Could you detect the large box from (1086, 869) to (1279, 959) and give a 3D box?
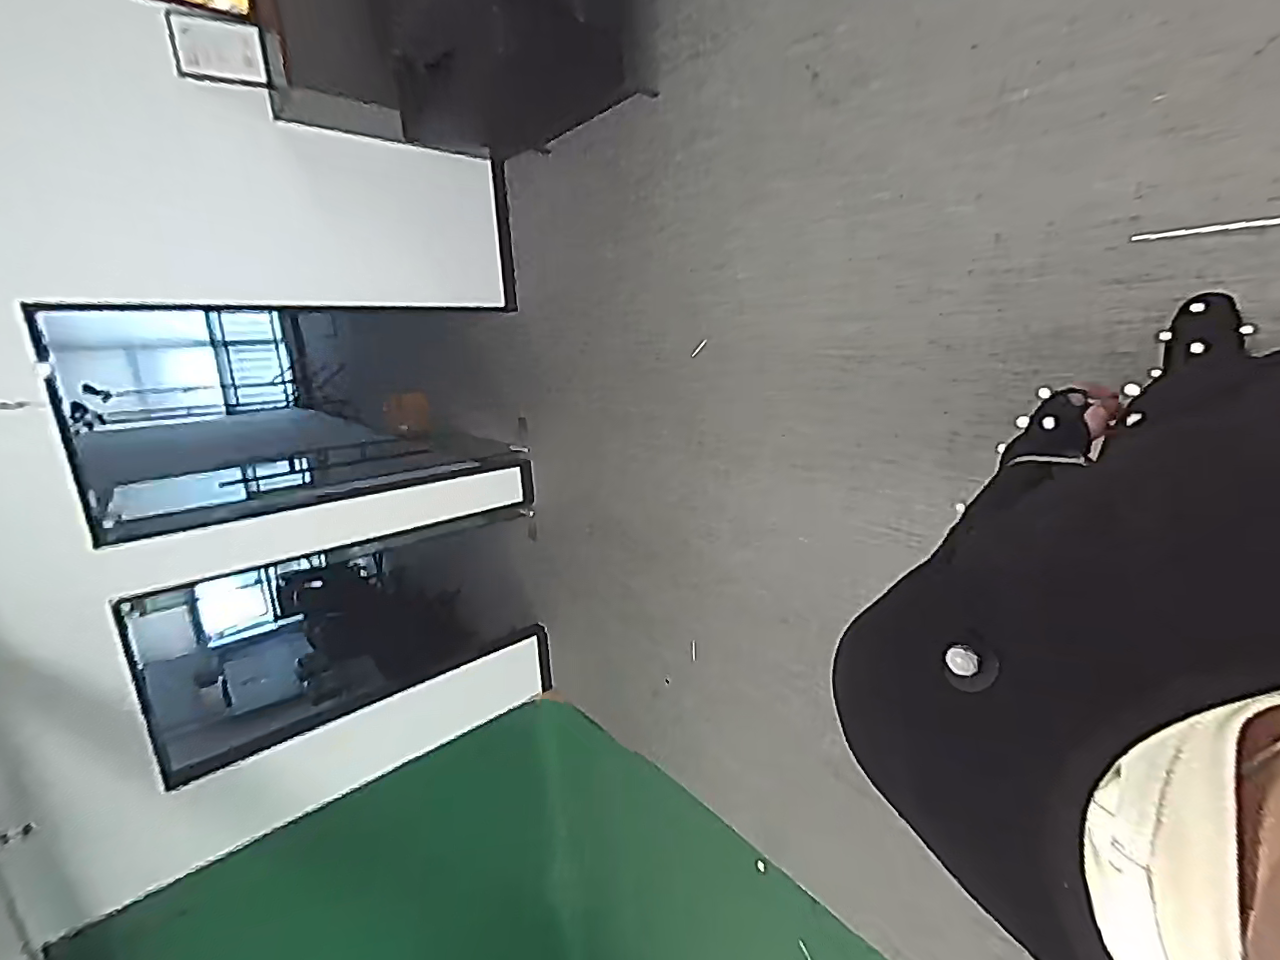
[{"bbox_3d":[1.293,1.222,1.225,0.408,0.320,0.320,12,108,50],"label":"large box"}]
